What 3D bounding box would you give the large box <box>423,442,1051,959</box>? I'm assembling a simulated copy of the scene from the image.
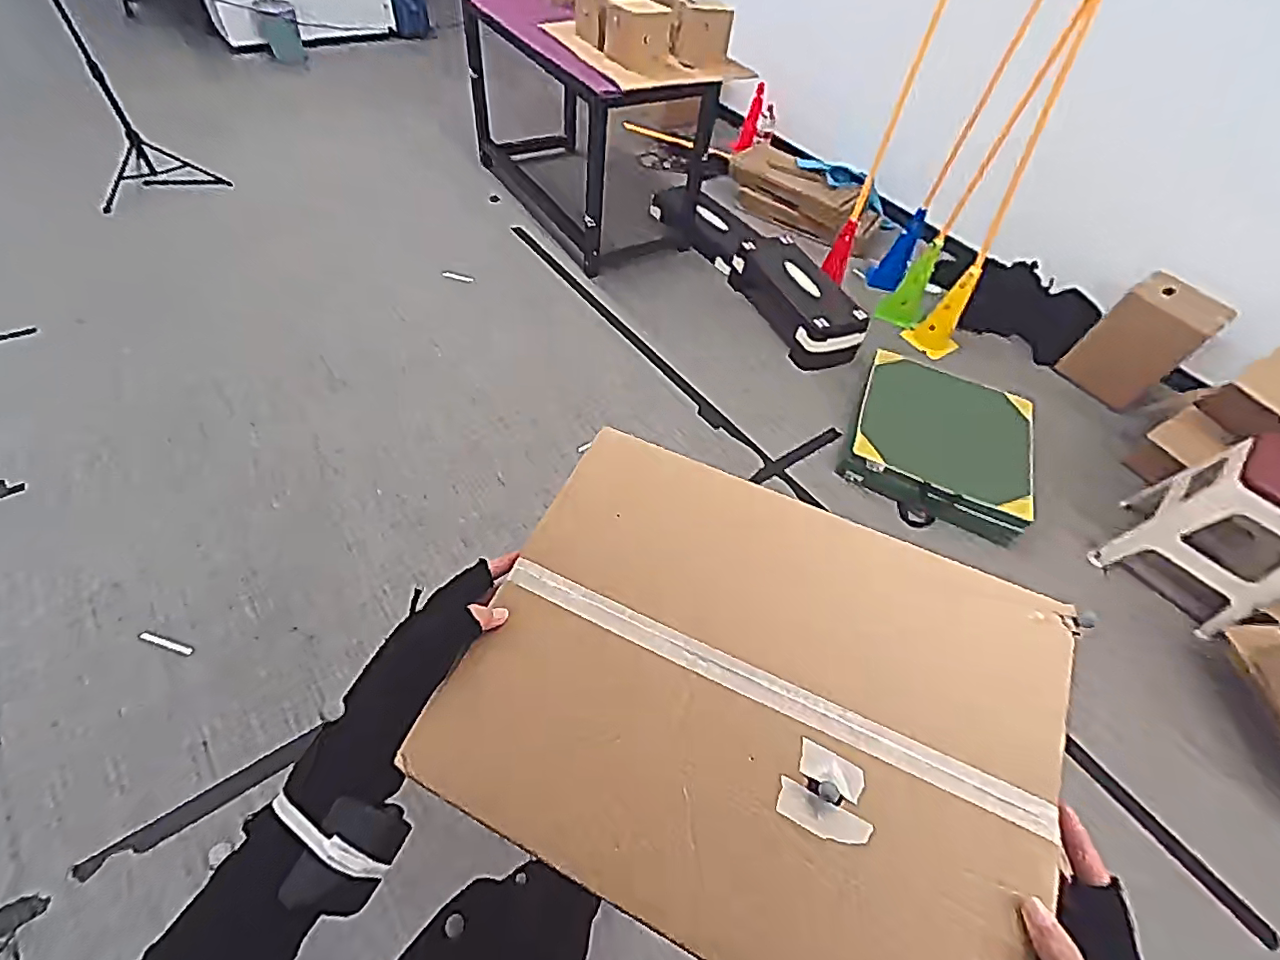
[{"bbox_3d":[0.086,0.225,0.536,0.408,0.320,0.320,23,63,14],"label":"large box"}]
